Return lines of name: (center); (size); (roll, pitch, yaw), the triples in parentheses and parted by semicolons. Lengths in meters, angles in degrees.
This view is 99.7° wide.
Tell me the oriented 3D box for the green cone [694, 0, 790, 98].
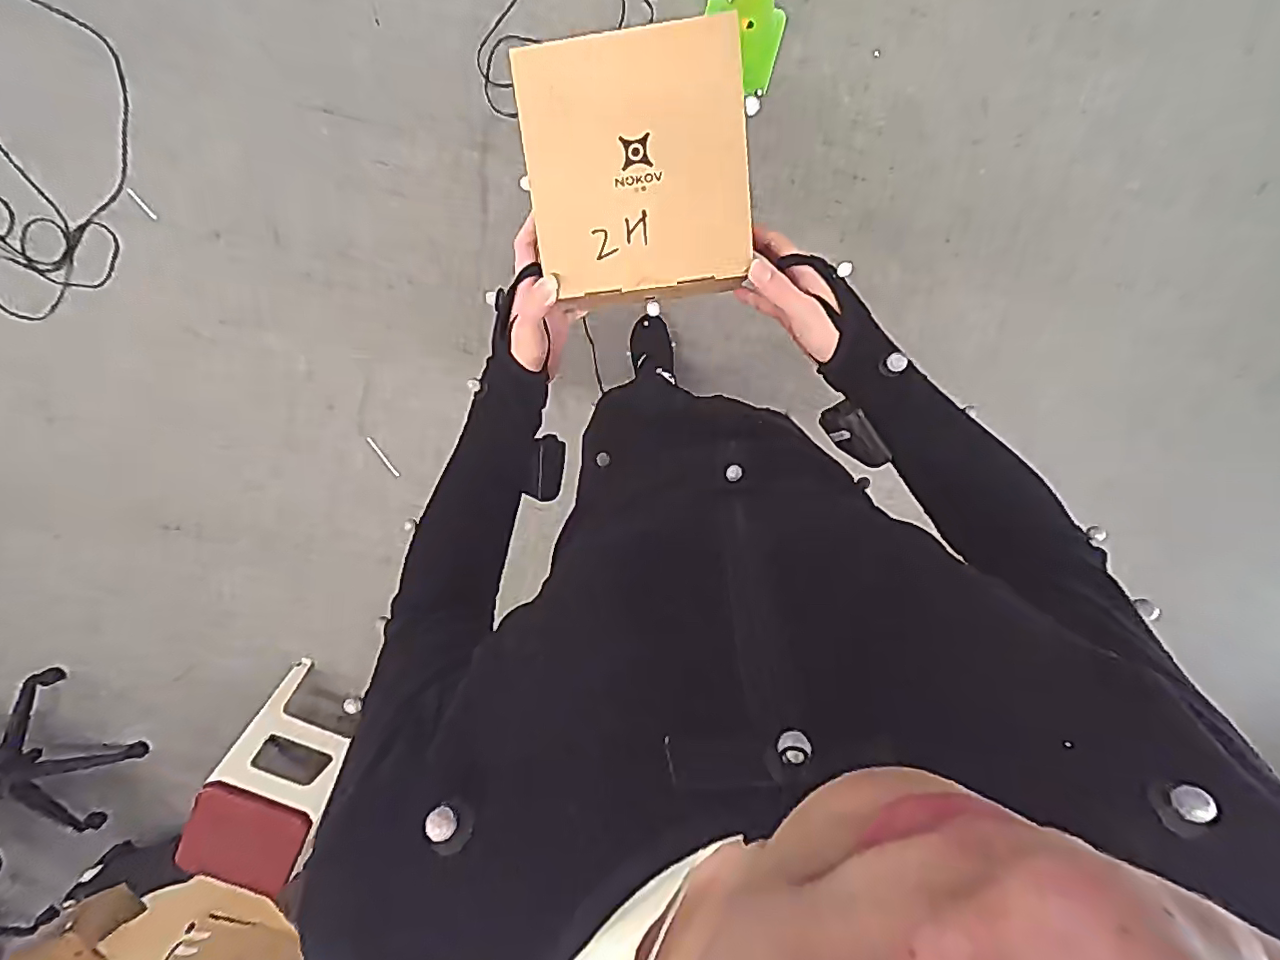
green cone: (0.249, -1.034, 1.164); (0.202, 0.368, 0.200); (14, 103, -3)
